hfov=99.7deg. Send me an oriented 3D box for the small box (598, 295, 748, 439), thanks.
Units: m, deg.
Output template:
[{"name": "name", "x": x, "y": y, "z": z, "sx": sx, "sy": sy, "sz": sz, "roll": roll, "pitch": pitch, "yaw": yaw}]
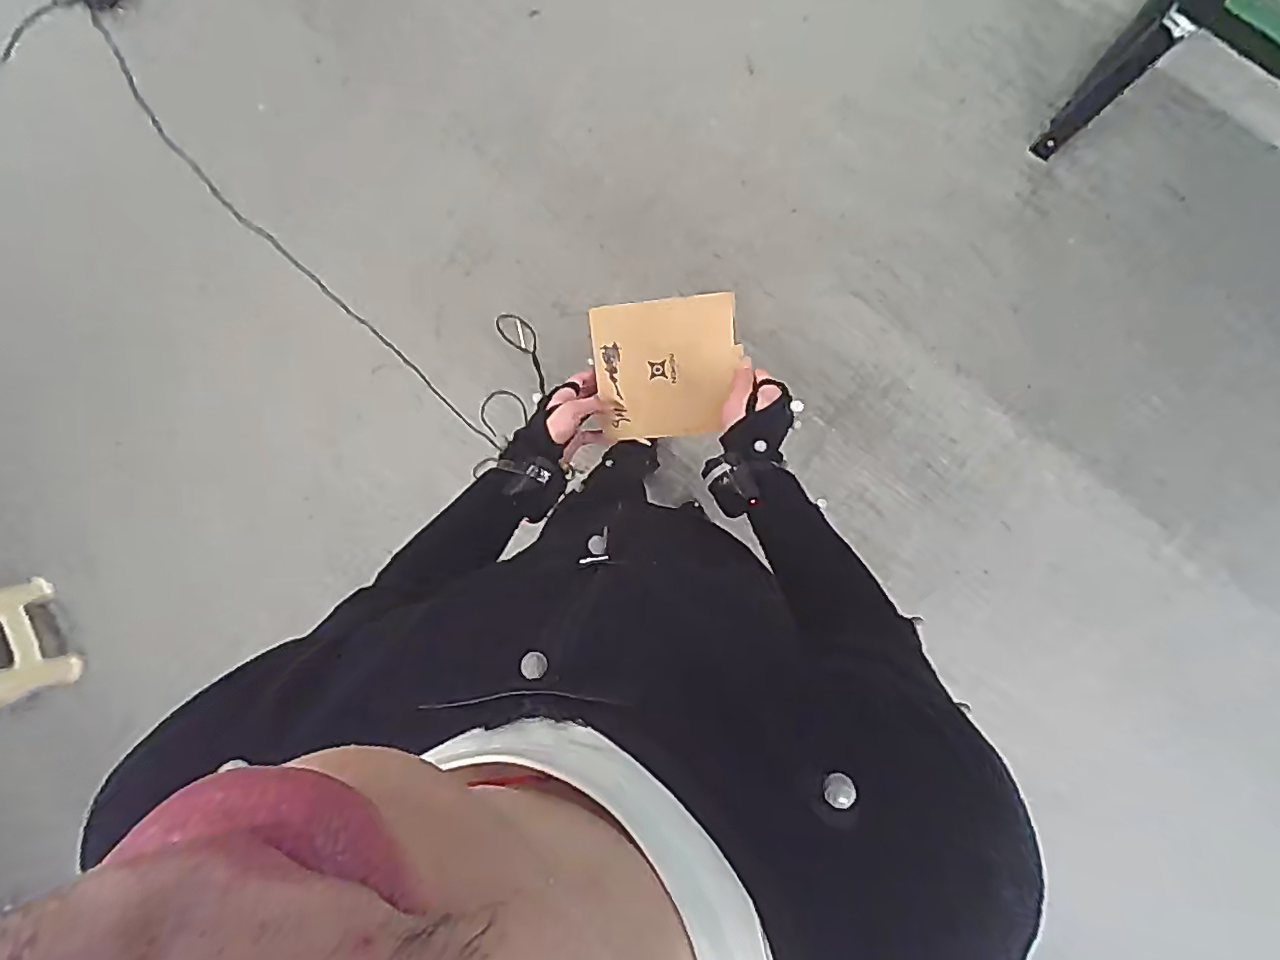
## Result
[{"name": "small box", "x": 0.052, "y": -0.154, "z": 0.738, "sx": 0.179, "sy": 0.176, "sz": 0.168, "roll": -3, "pitch": 103, "yaw": 10}]
